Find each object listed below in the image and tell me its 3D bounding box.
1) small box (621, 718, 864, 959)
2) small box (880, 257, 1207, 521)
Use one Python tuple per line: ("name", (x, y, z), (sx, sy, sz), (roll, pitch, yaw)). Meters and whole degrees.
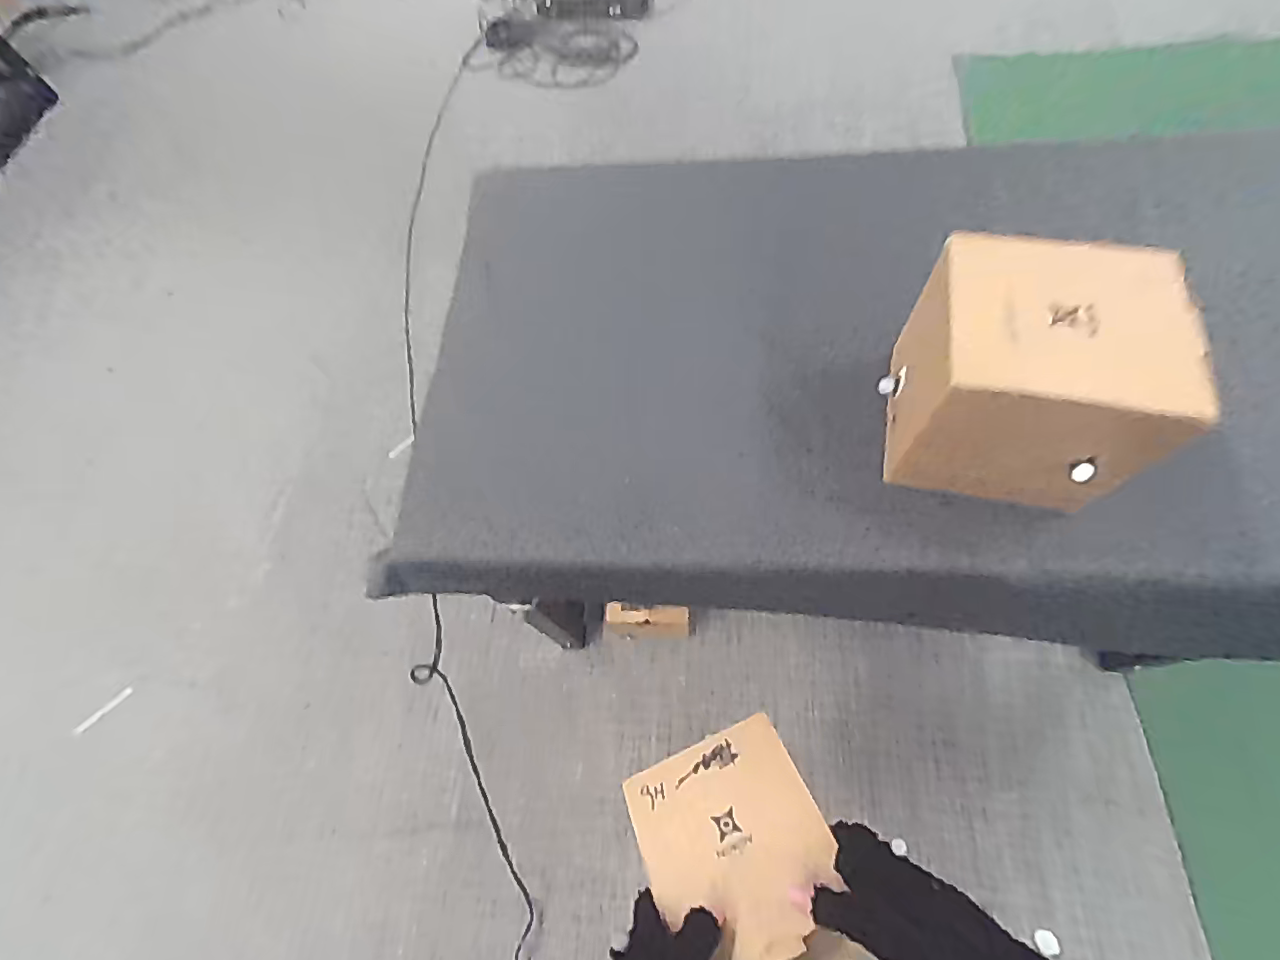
("small box", (0.103, 0.379, 0.534), (0.168, 0.176, 0.179), (-24, 40, -3))
("small box", (0.342, -0.074, 0.500), (0.179, 0.176, 0.168), (10, 64, 11))
